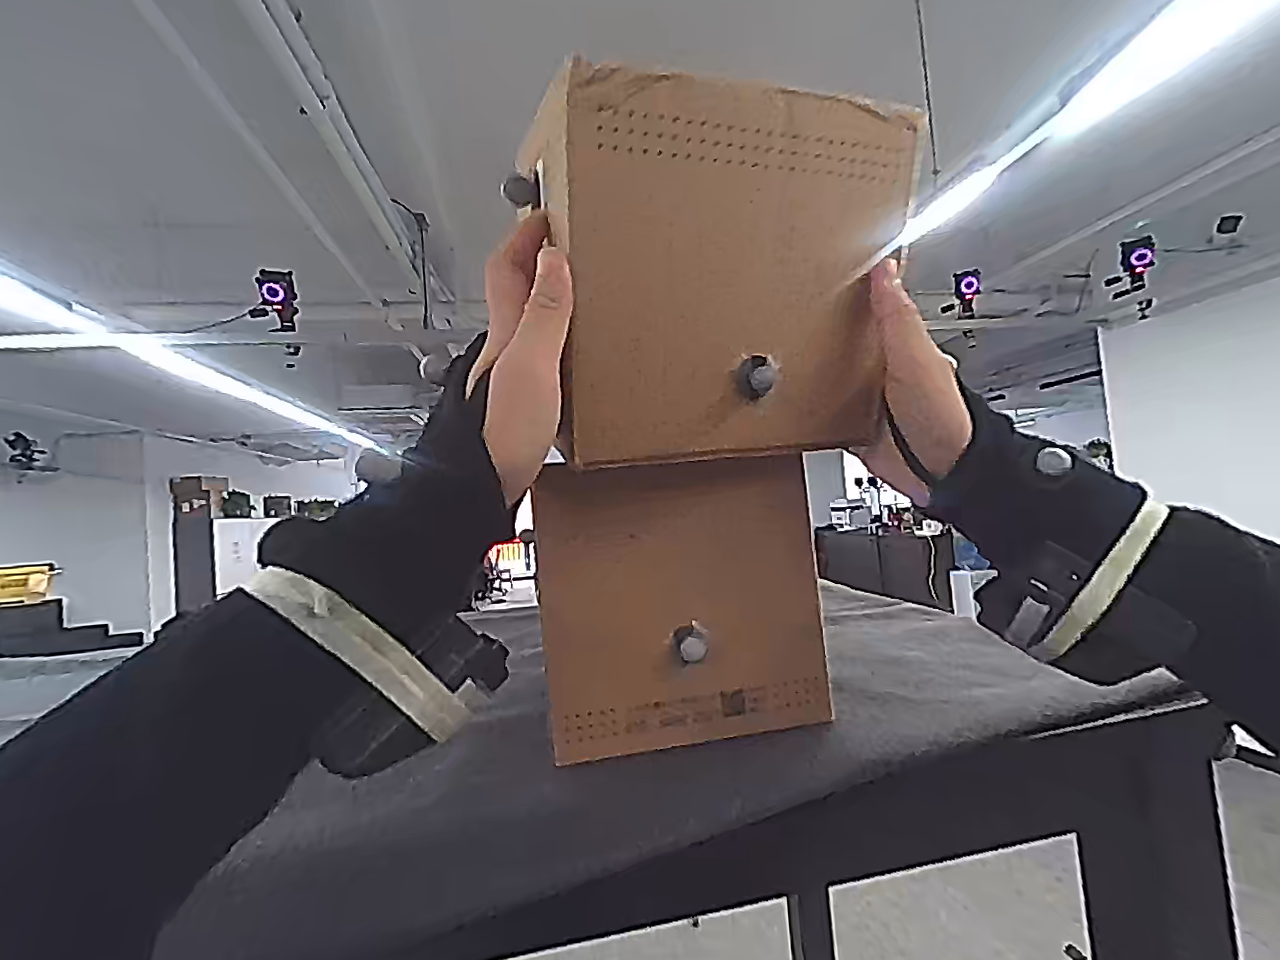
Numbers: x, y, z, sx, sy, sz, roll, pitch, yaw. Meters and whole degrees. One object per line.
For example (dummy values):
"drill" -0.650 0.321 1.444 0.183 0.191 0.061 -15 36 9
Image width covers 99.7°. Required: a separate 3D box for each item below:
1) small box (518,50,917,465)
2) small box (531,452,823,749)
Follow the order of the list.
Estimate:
"small box" 0.028 -0.117 0.319 0.179 0.176 0.168 -4 19 -19
"small box" 0.014 0.071 0.396 0.168 0.176 0.179 -6 -3 -9
